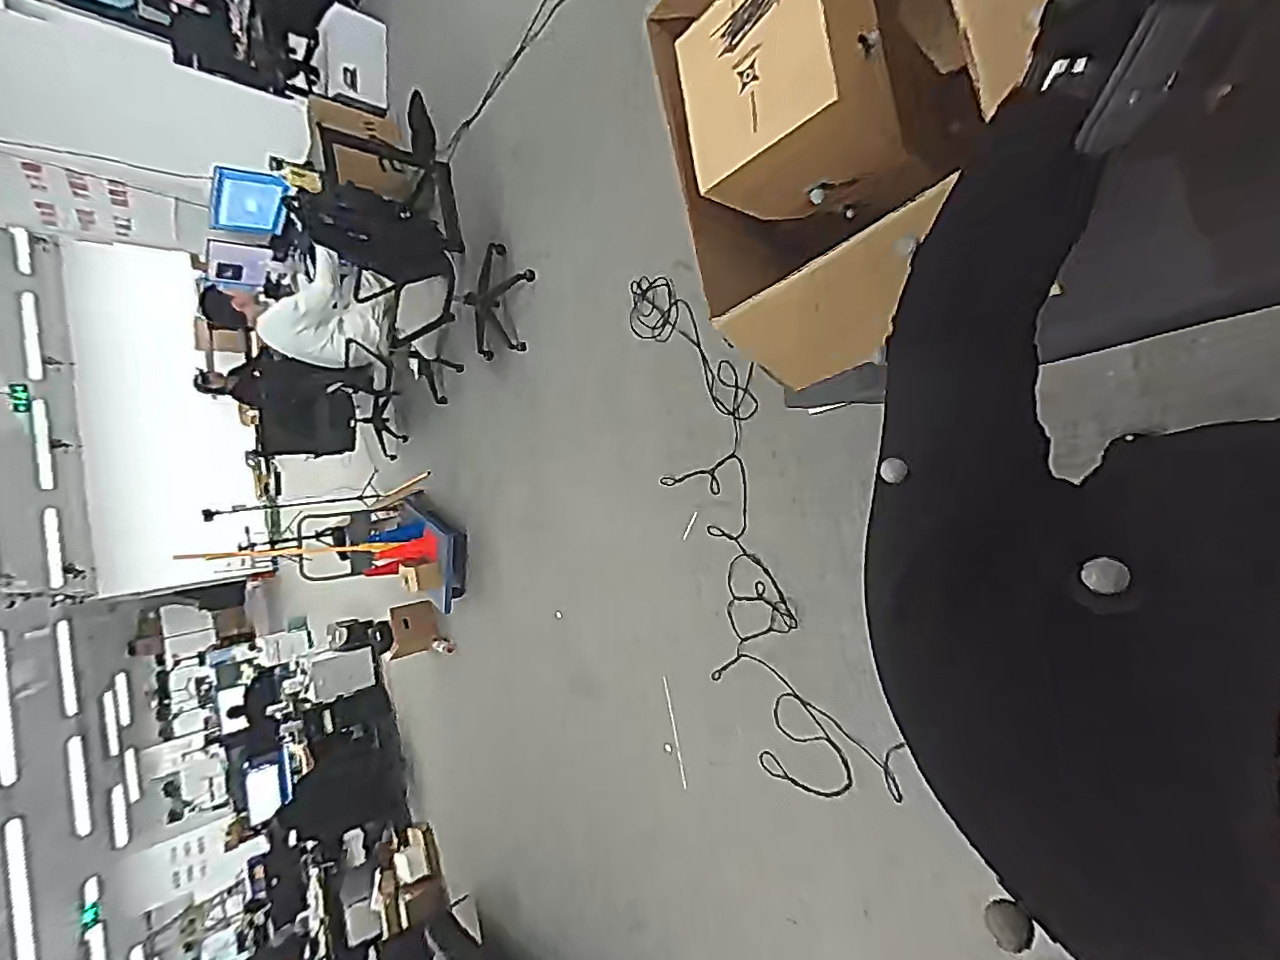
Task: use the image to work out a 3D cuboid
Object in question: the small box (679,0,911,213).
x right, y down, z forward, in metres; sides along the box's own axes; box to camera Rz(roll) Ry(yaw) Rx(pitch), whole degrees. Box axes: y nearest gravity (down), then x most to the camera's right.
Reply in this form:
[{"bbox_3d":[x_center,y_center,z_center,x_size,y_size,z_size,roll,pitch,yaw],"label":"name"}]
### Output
[{"bbox_3d":[0.169,-0.423,0.586,0.168,0.176,0.179,-10,90,48],"label":"small box"}]
